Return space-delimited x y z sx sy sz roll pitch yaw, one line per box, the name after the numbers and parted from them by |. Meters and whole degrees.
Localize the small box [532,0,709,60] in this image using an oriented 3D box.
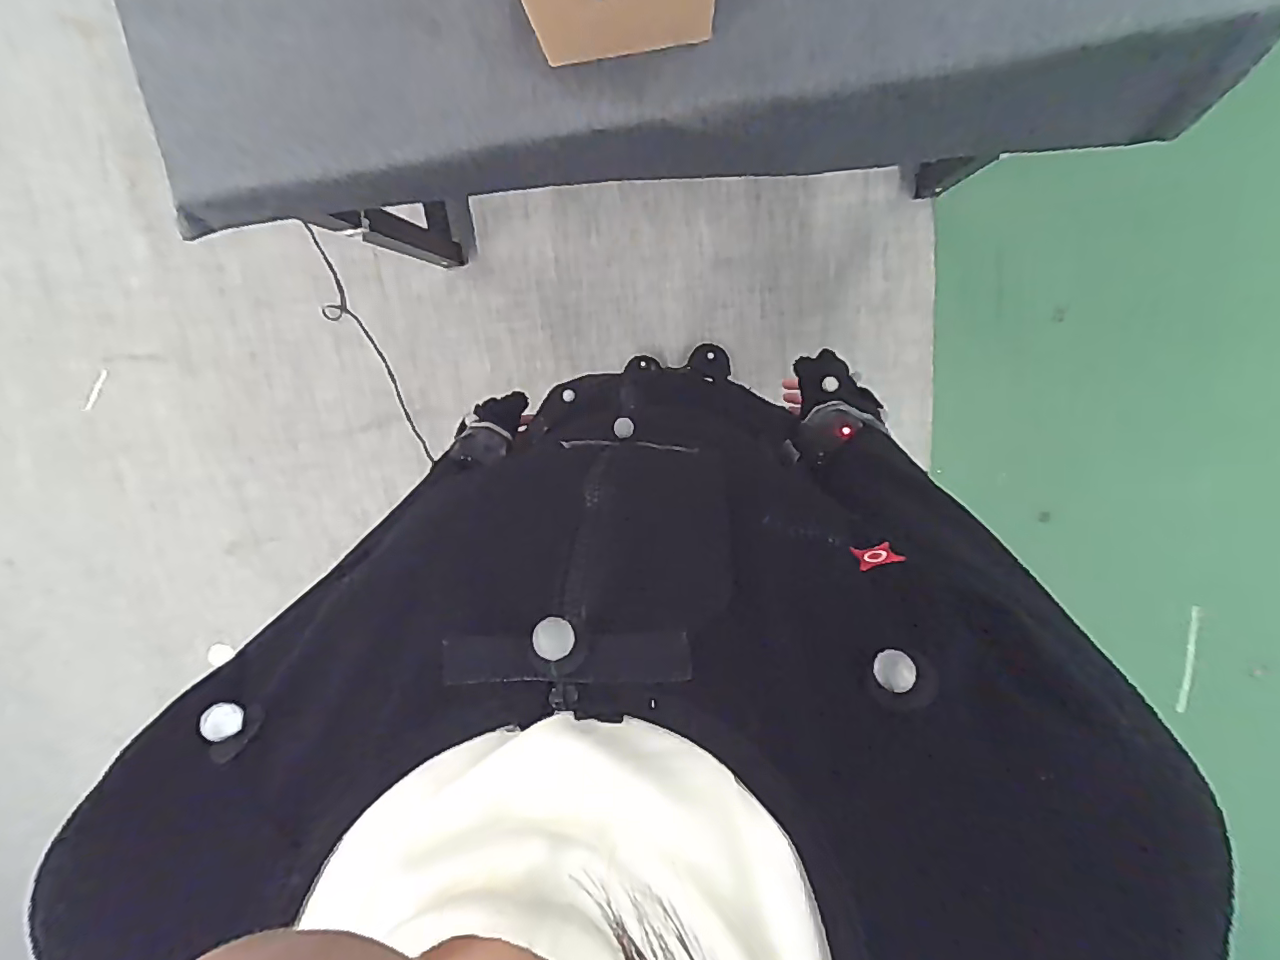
-0.025 -0.528 0.500 0.179 0.176 0.168 -5 104 5 | small box
